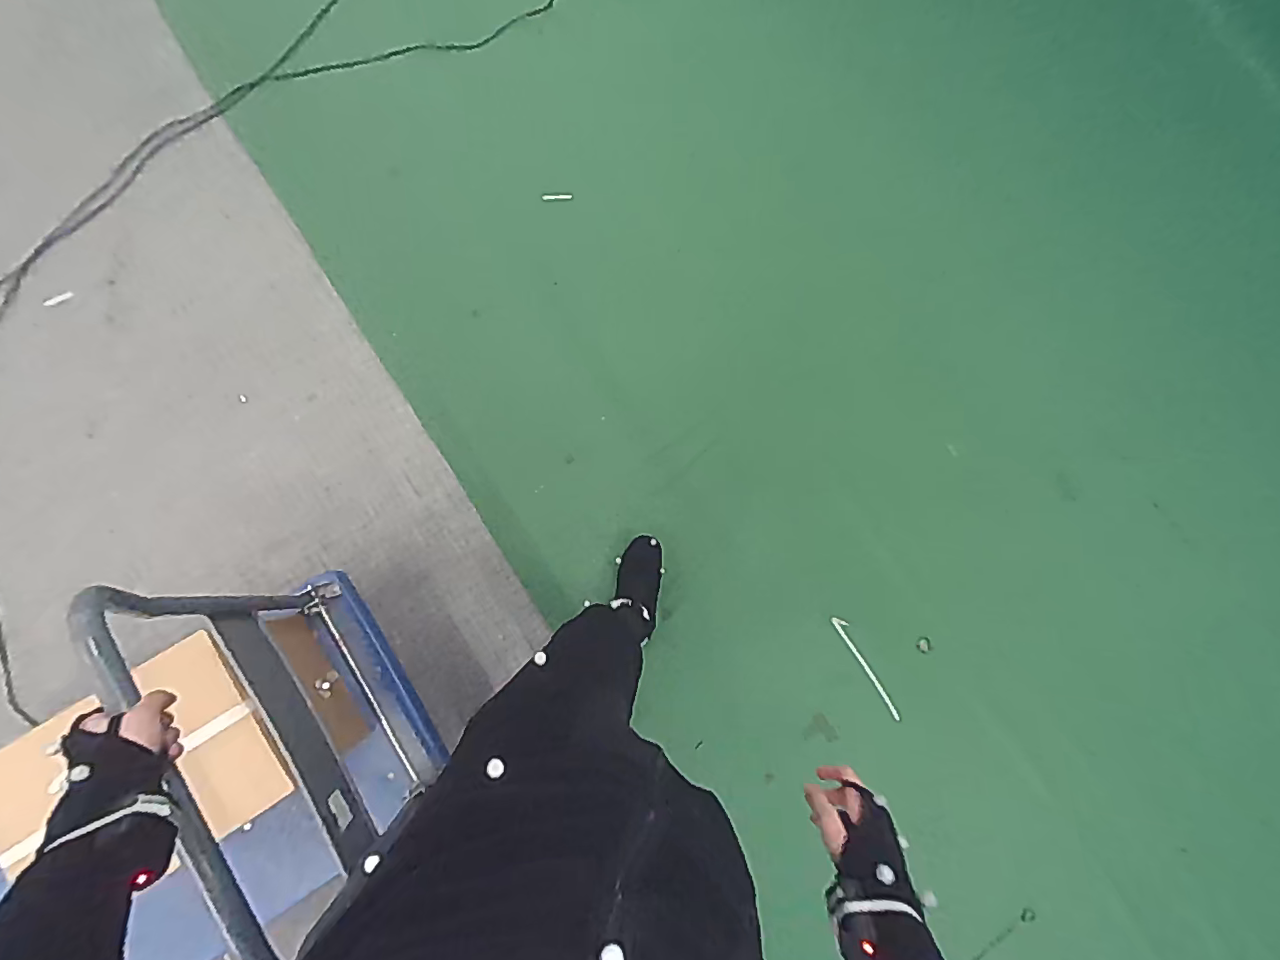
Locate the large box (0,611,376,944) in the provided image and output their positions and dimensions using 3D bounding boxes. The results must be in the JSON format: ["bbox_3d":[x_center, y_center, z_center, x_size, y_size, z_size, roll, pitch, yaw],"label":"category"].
[{"bbox_3d":[-0.800,0.495,1.007,0.408,0.320,0.320,-32,85,-9],"label":"large box"}]
